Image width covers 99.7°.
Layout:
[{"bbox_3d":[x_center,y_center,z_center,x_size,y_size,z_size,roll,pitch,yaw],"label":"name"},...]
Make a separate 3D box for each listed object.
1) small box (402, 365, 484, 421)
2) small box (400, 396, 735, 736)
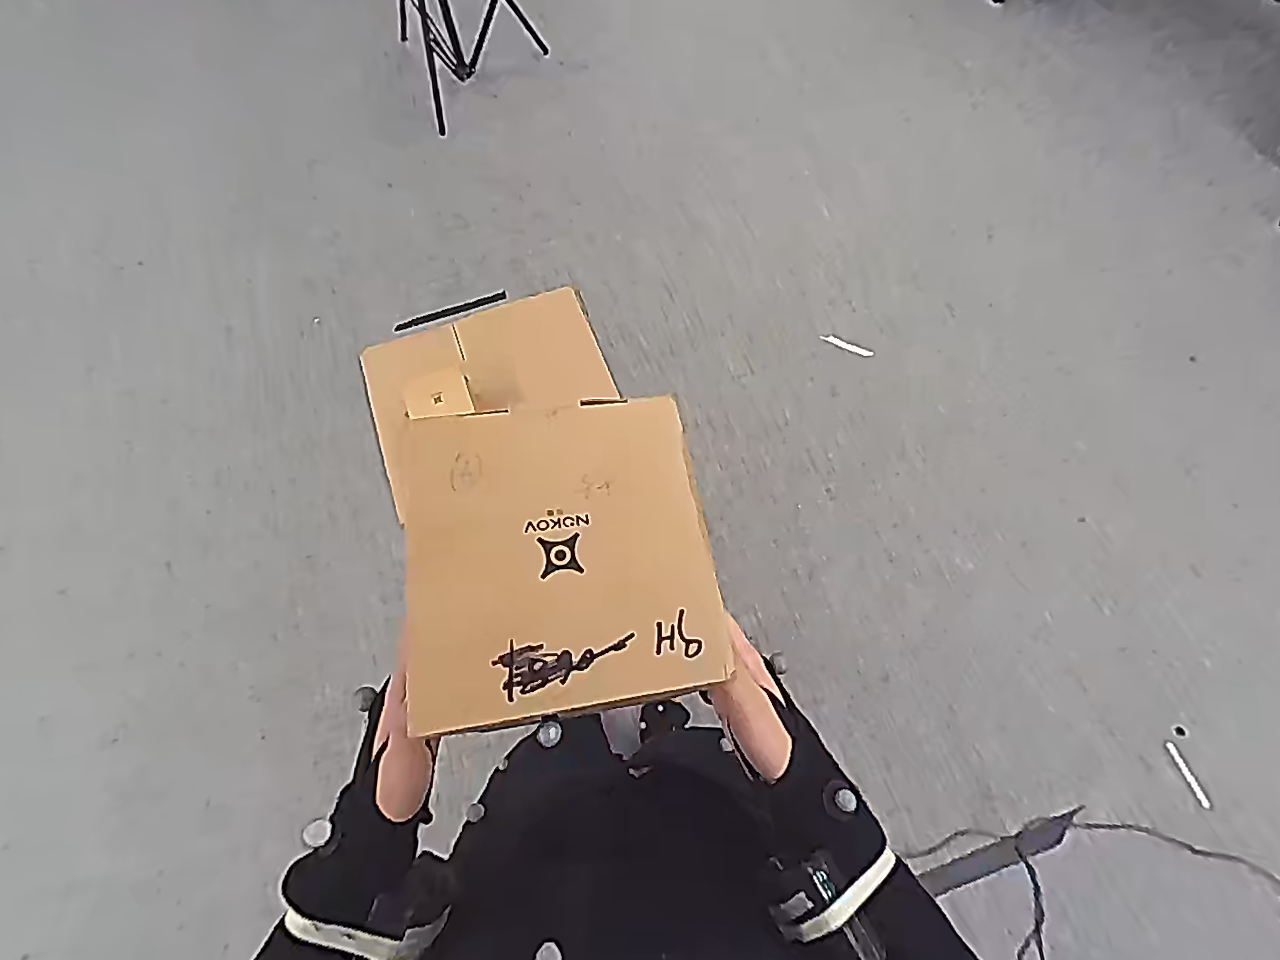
[{"bbox_3d":[-0.528,-0.180,1.498,0.168,0.176,0.179,-22,70,-8],"label":"small box"},{"bbox_3d":[-0.051,0.067,0.368,0.168,0.176,0.179,-8,66,-8],"label":"small box"}]
